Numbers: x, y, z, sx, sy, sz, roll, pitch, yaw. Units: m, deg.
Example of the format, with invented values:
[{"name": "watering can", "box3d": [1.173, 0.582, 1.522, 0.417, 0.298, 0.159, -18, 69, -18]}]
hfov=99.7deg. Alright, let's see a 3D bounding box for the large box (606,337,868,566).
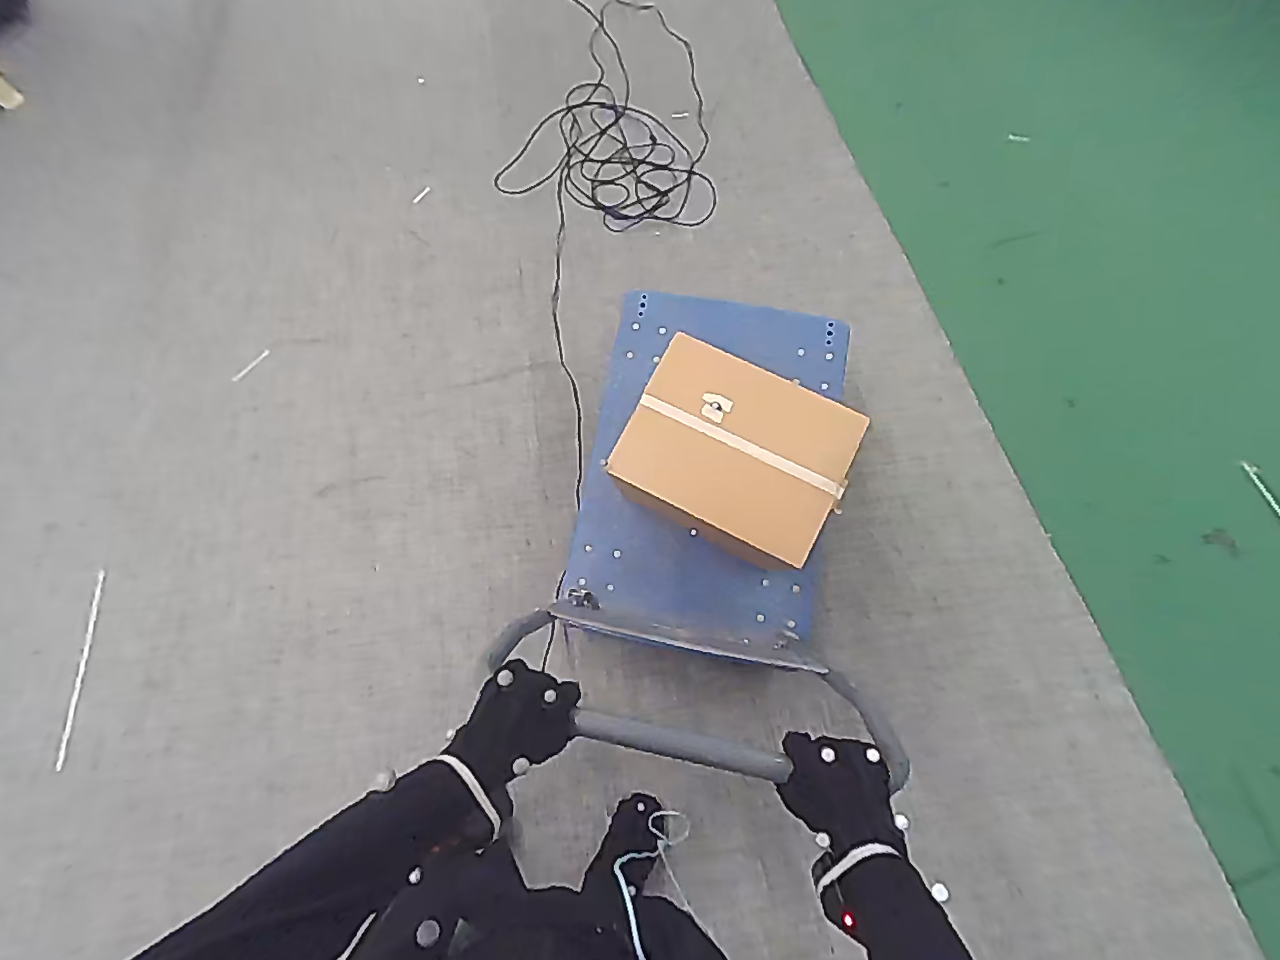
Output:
[{"name": "large box", "box3d": [0.194, -0.038, 1.149, 0.408, 0.320, 0.320, 26, 82, 9]}]
